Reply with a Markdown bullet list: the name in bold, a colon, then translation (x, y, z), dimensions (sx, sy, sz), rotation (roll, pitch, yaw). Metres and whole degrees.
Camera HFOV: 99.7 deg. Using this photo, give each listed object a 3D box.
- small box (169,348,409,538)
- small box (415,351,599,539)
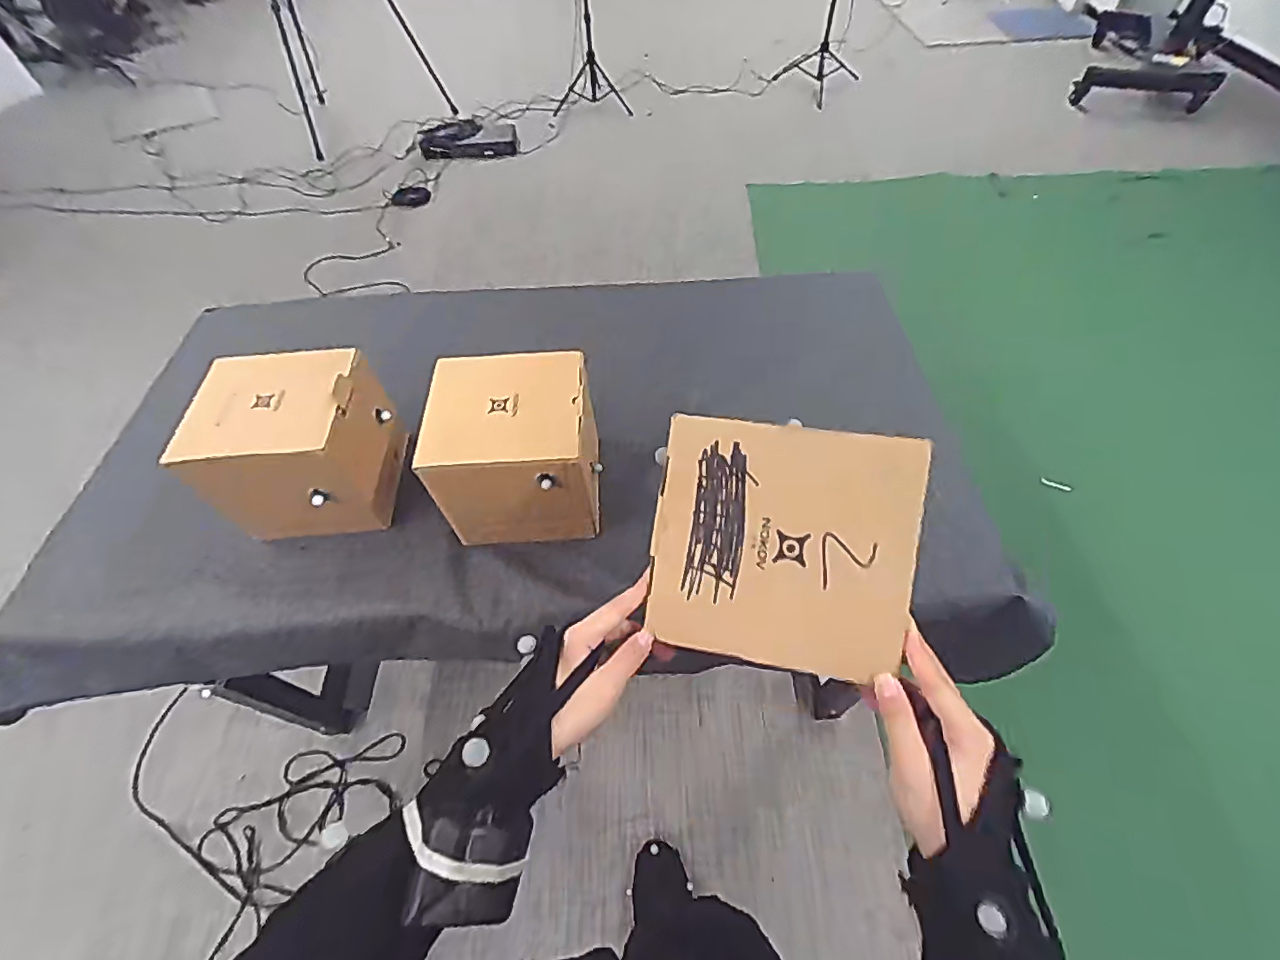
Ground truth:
- **small box**: translation (-0.417, -0.042, 0.685), dimensions (0.179, 0.176, 0.168), rotation (-6, 53, 0)
- **small box**: translation (-0.147, -0.037, 0.669), dimensions (0.179, 0.176, 0.168), rotation (-3, 54, 0)
